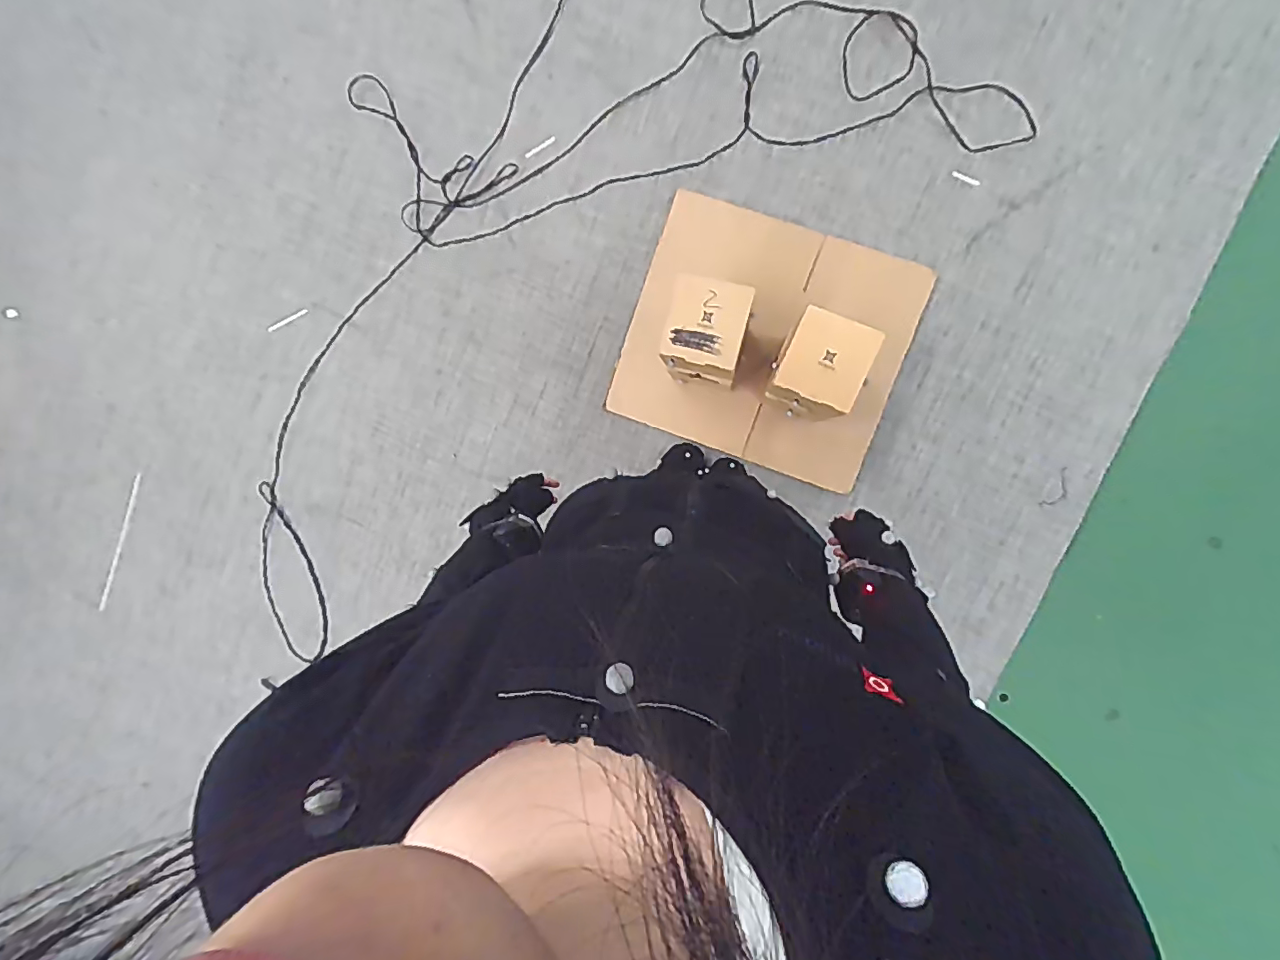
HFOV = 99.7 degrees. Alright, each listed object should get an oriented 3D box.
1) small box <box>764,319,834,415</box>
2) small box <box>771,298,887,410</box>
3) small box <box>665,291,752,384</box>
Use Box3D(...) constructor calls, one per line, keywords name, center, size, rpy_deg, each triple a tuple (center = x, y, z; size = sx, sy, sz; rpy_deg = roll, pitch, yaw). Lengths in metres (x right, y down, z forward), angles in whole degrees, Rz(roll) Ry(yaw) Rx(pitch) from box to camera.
Box3D(name="small box", center=(0.409, -0.269, 1.320), size=(0.168, 0.176, 0.179), rpy_deg=(21, 98, 7))
Box3D(name="small box", center=(0.391, -0.261, 1.158), size=(0.168, 0.176, 0.179), rpy_deg=(23, 98, 6))
Box3D(name="small box", center=(0.171, -0.345, 1.342), size=(0.168, 0.176, 0.179), rpy_deg=(16, 97, 6))
